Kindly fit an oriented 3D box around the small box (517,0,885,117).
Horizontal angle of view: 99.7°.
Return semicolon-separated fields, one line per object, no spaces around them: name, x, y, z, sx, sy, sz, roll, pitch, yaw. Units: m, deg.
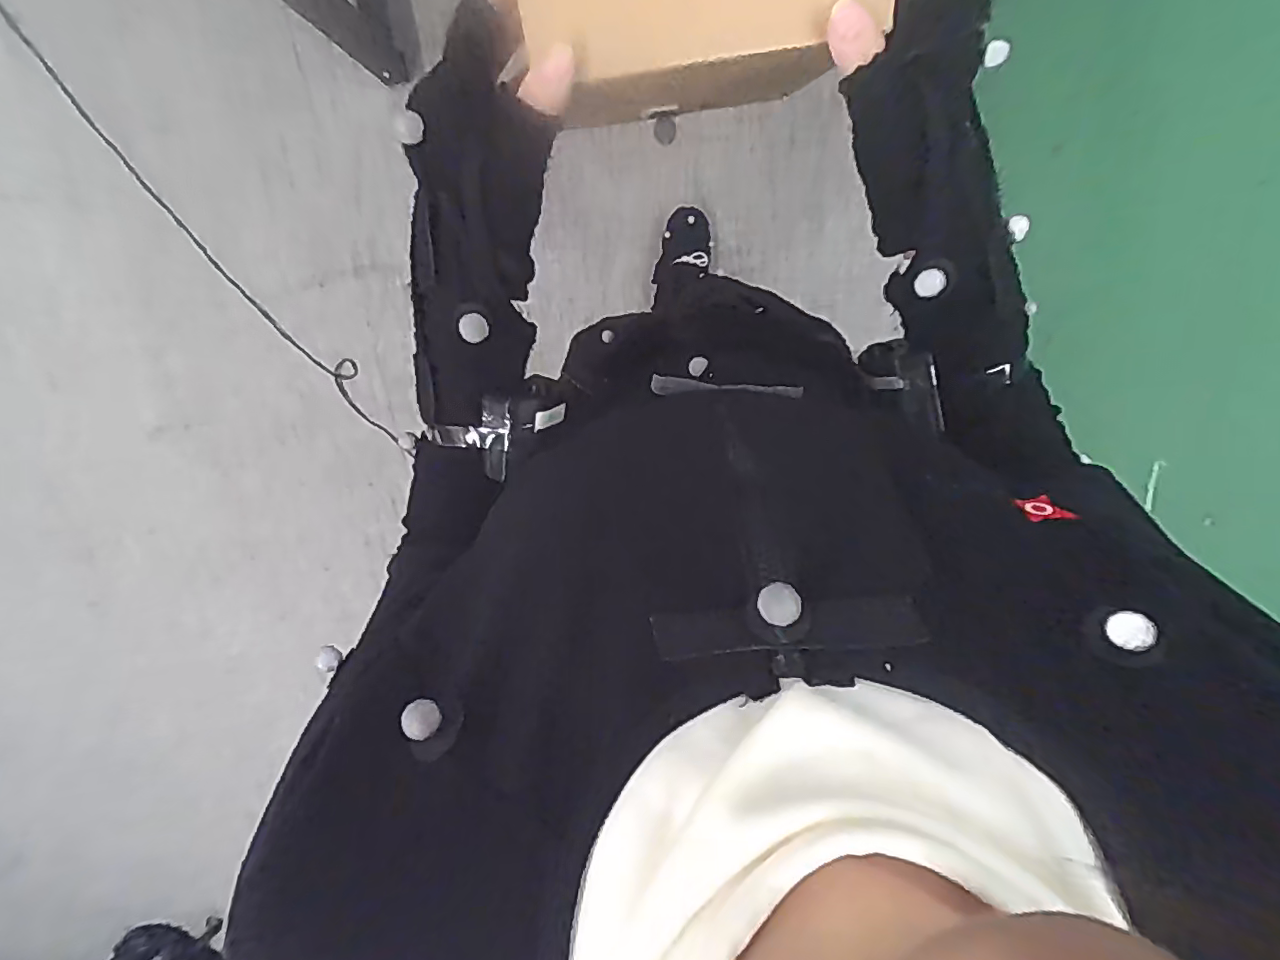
small box;0.014;-0.310;0.276;0.168;0.176;0.179;-8;117;1
